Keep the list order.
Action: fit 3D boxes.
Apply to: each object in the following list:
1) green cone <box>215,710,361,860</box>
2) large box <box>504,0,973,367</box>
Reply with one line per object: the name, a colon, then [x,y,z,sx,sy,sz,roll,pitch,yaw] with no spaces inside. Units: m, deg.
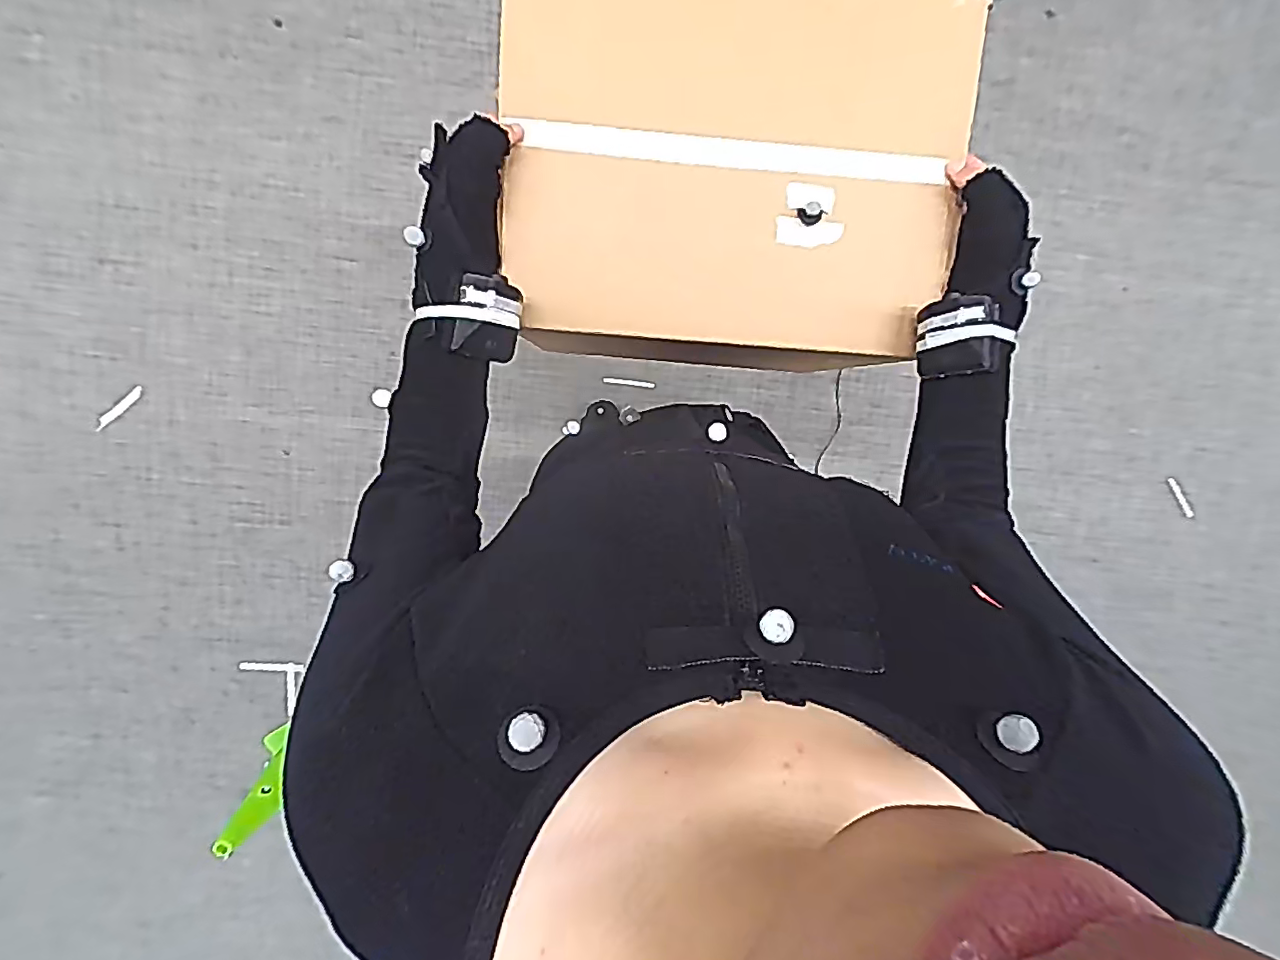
green cone: [-0.927,0.799,1.379,0.202,0.368,0.200,-32,97,4]
large box: [0.072,-0.303,0.618,0.408,0.320,0.320,3,99,-4]
